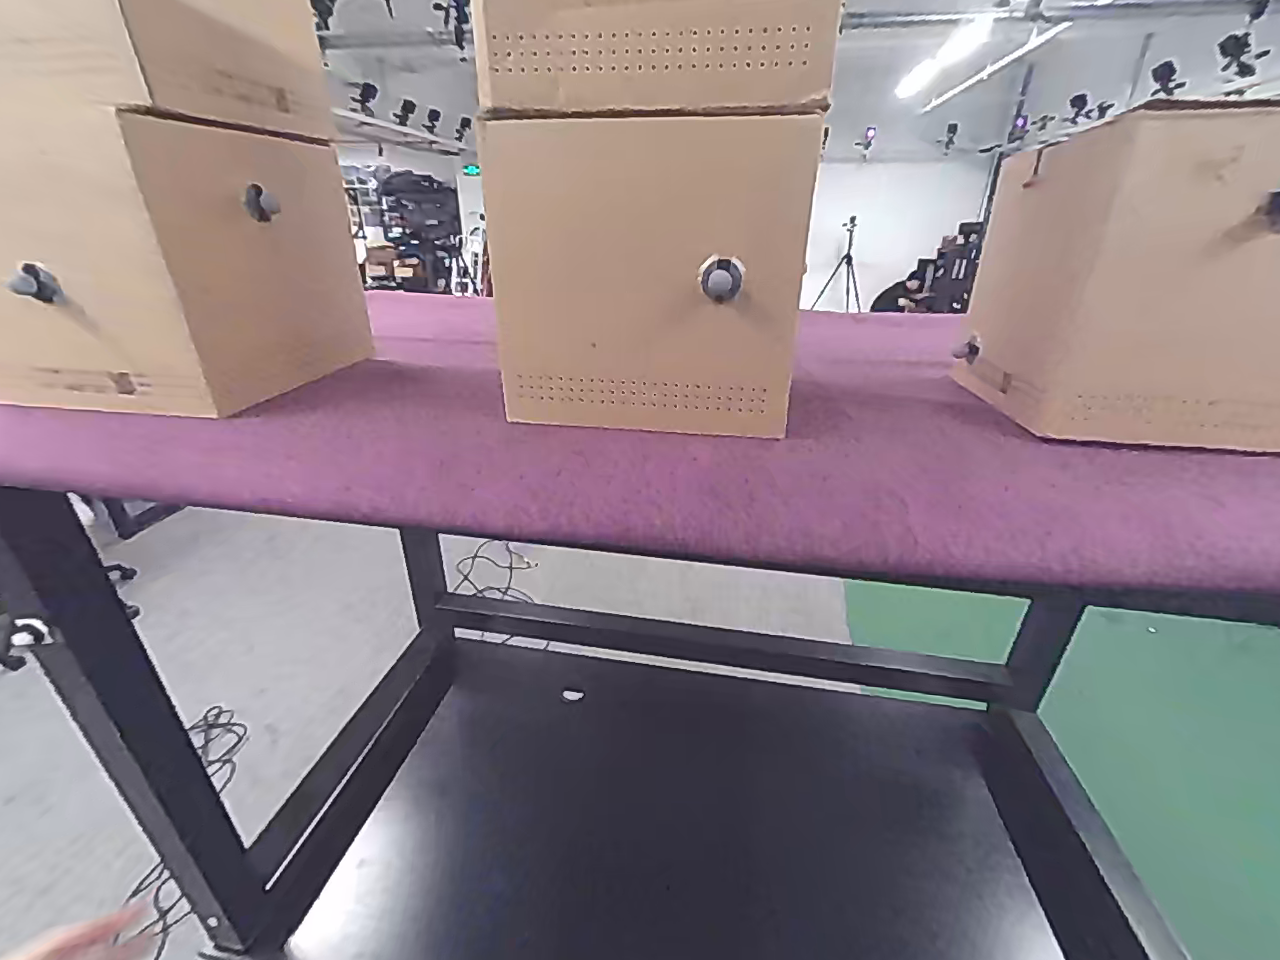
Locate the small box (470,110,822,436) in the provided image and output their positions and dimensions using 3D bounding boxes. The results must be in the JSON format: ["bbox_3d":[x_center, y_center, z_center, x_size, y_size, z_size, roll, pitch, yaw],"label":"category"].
[{"bbox_3d":[0.011,-0.135,0.366,0.179,0.176,0.168,3,25,7],"label":"small box"}]

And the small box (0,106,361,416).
[{"bbox_3d":[-0.331,-0.153,0.387,0.168,0.176,0.179,5,27,6],"label":"small box"}]

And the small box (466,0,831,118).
[{"bbox_3d":[0.010,-0.284,0.299,0.179,0.176,0.168,3,26,6],"label":"small box"}]

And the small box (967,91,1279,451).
[{"bbox_3d":[0.332,-0.124,0.341,0.179,0.176,0.168,5,24,10],"label":"small box"}]
